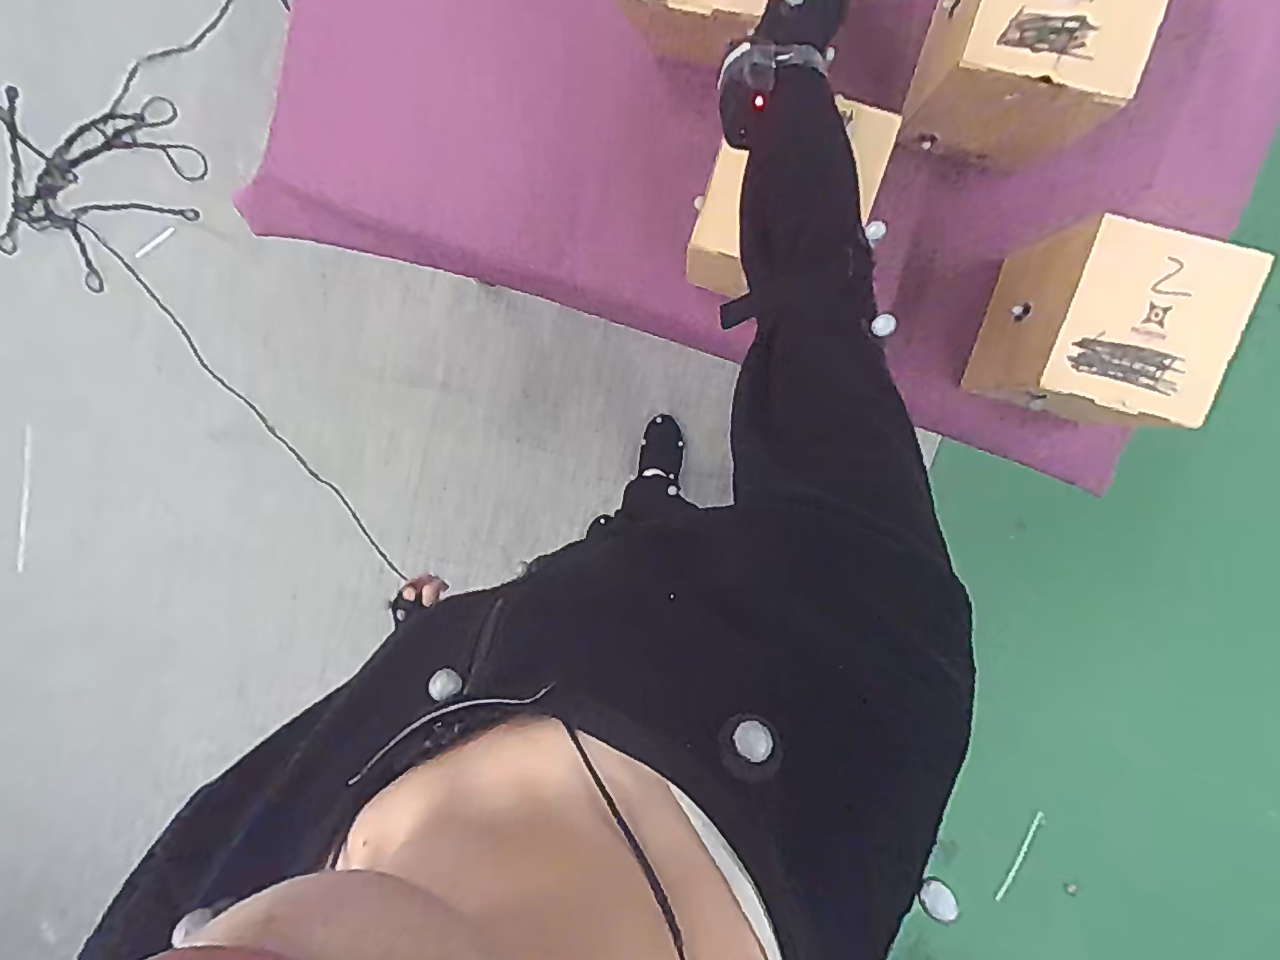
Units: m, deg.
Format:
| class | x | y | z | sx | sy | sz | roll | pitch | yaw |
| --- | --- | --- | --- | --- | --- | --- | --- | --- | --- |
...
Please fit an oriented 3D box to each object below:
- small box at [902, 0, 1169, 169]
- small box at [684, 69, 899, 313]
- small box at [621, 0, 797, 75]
| class | x | y | z | sx | sy | sz | roll | pitch | yaw |
| --- | --- | --- | --- | --- | --- | --- | --- | --- | --- |
| small box | 0.407 | -0.467 | 0.574 | 0.168 | 0.176 | 0.179 | 16 | 98 | 1 |
| small box | 0.155 | -0.306 | 0.616 | 0.168 | 0.176 | 0.179 | 18 | 99 | 1 |
| small box | 0.089 | -0.559 | 0.559 | 0.168 | 0.176 | 0.179 | 19 | 112 | 7 |
